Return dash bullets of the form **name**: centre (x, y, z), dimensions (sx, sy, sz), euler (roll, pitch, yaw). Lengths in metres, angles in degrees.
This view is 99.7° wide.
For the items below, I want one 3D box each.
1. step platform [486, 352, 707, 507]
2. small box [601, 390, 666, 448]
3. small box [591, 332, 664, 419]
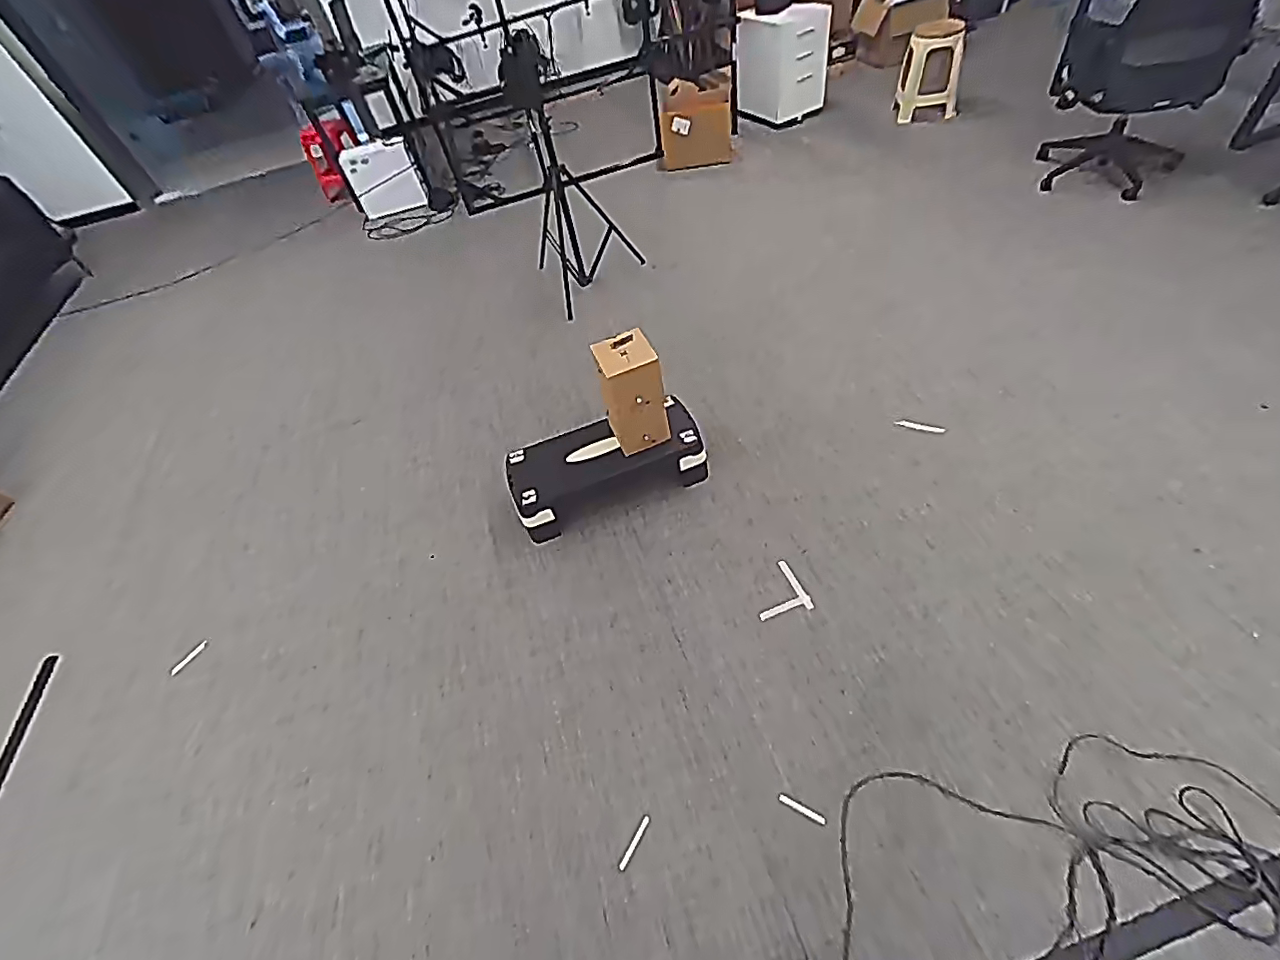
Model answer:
- **step platform**: centre (-0.132, -0.164, 1.739), dimensions (0.684, 0.204, 0.286), euler (-20, 49, -6)
- **small box**: centre (-0.017, -0.213, 1.802), dimensions (0.168, 0.176, 0.179), euler (-22, 50, -6)
- **small box**: centre (-0.036, -0.323, 1.681), dimensions (0.168, 0.176, 0.179), euler (-22, 50, -6)
